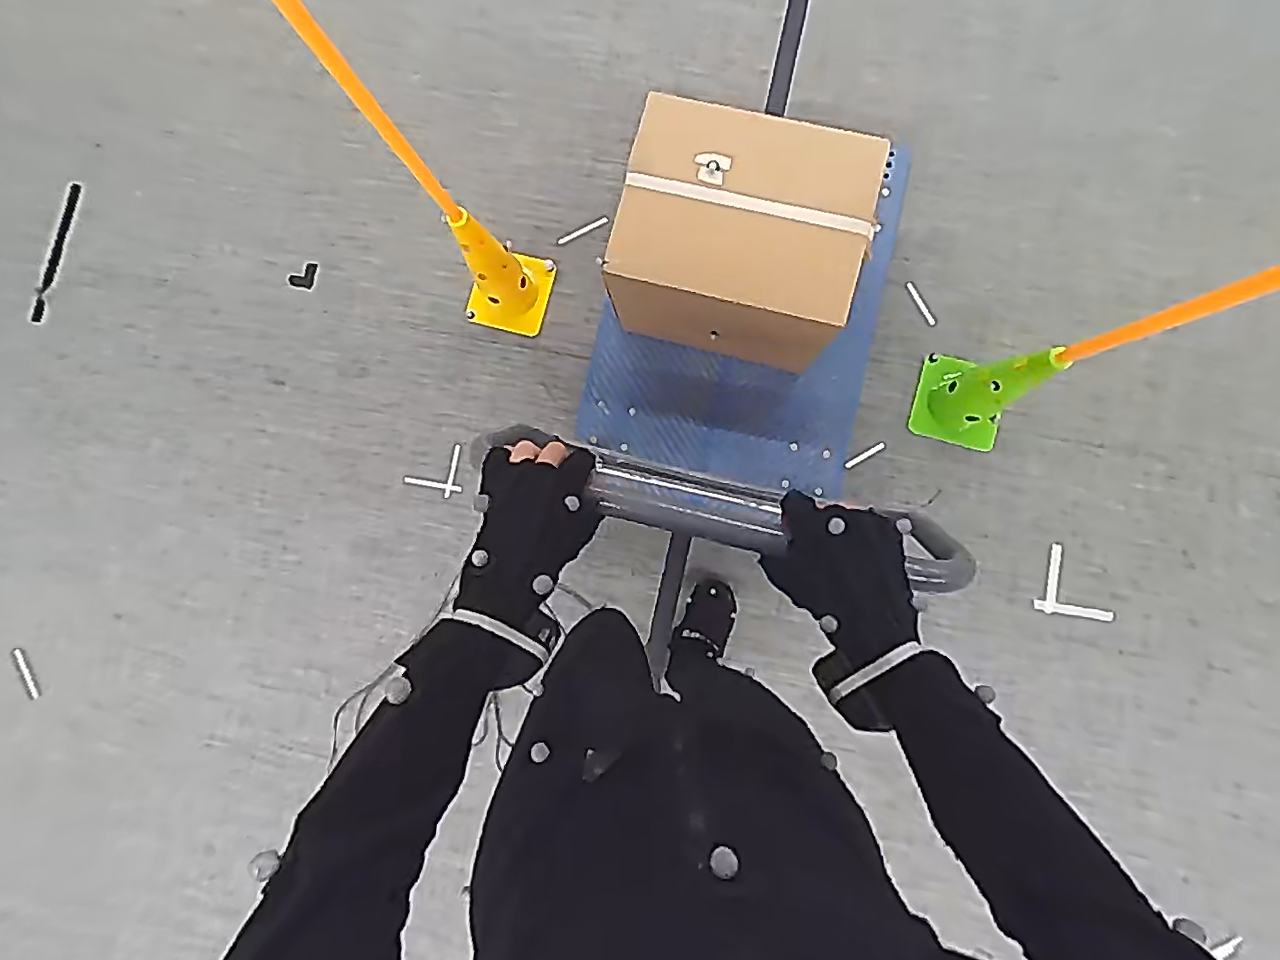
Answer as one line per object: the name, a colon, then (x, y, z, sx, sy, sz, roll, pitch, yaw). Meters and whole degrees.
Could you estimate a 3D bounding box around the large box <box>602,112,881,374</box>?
large box: (0.178, -0.421, 1.034, 0.408, 0.320, 0.320, 15, 88, 6)

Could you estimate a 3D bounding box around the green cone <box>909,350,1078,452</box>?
green cone: (0.747, -0.192, 1.118, 0.202, 0.368, 0.200, 16, 87, 4)
